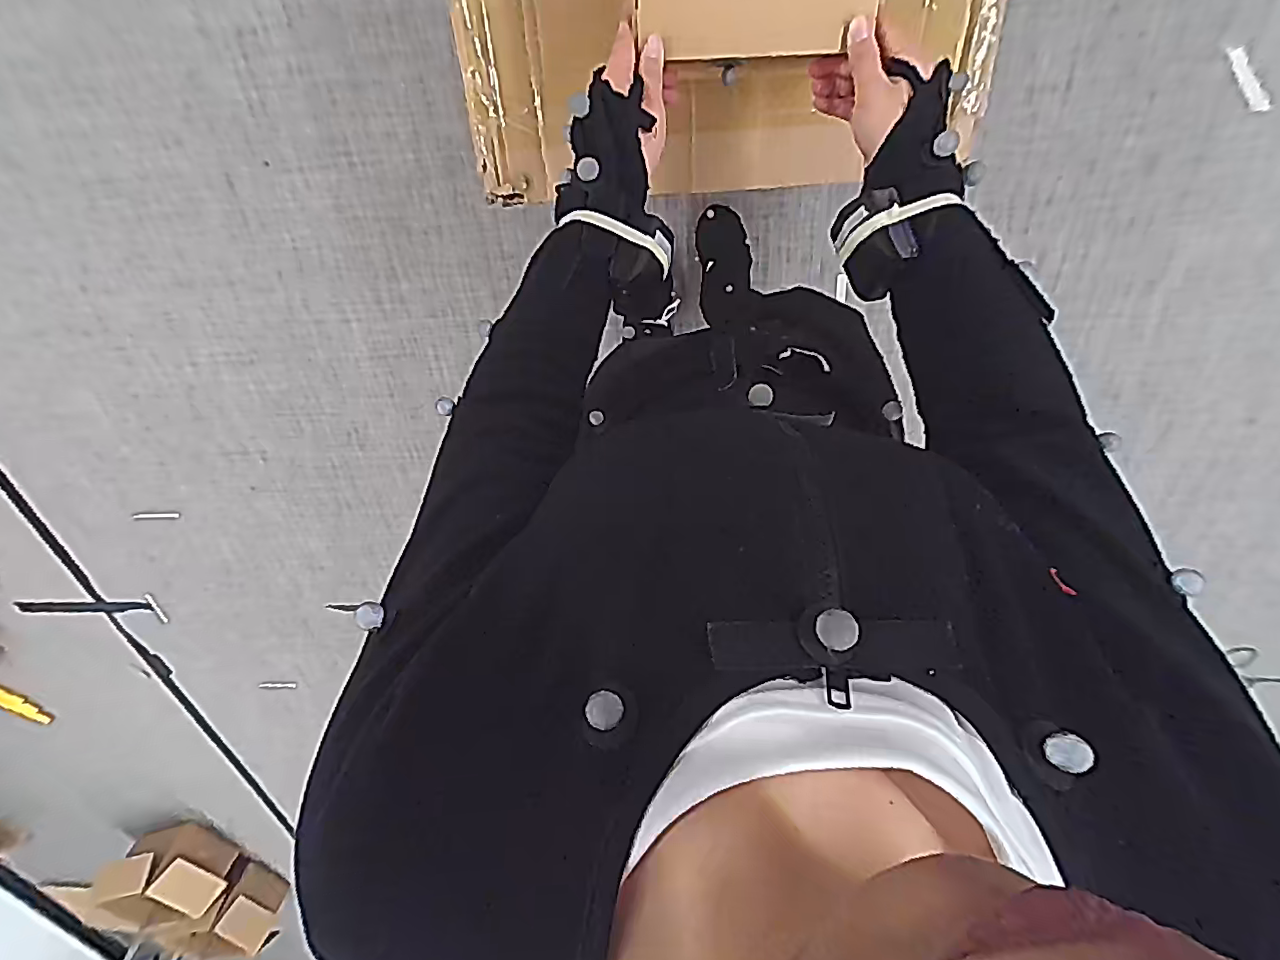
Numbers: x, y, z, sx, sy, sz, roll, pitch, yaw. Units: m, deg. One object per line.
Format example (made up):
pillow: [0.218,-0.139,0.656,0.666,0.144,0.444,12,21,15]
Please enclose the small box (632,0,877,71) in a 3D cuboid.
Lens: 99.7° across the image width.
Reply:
small box: [0.084,-0.433,0.423,0.179,0.176,0.168,0,123,3]
